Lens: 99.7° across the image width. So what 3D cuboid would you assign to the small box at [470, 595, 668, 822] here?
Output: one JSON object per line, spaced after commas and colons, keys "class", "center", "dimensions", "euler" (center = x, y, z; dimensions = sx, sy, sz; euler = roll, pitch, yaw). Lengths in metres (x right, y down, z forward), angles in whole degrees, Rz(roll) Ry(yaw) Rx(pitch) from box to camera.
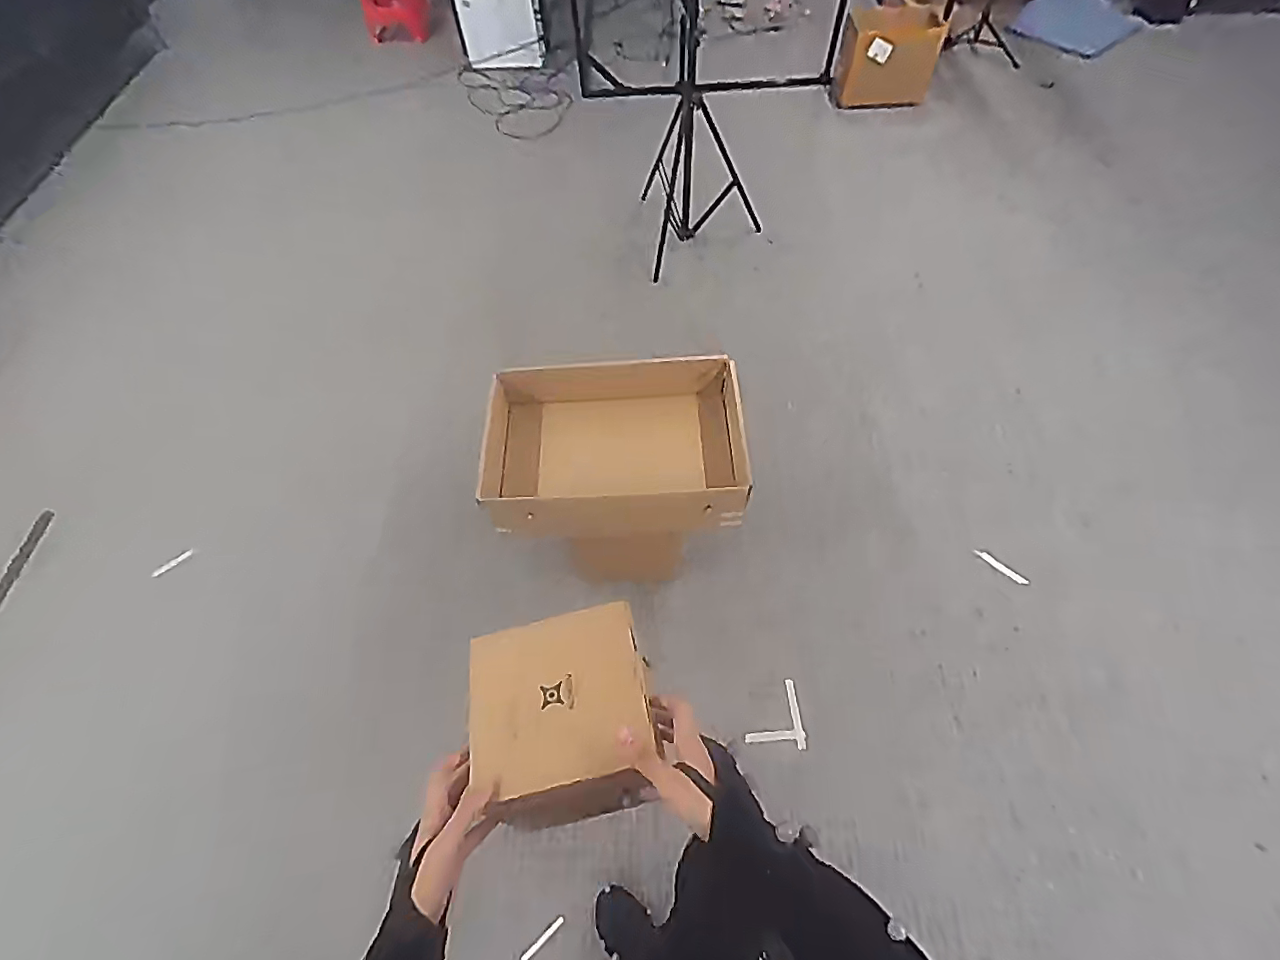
{"class": "small box", "center": [-0.070, 0.253, 0.593], "dimensions": [0.179, 0.176, 0.168], "euler": [-14, 49, -1]}
